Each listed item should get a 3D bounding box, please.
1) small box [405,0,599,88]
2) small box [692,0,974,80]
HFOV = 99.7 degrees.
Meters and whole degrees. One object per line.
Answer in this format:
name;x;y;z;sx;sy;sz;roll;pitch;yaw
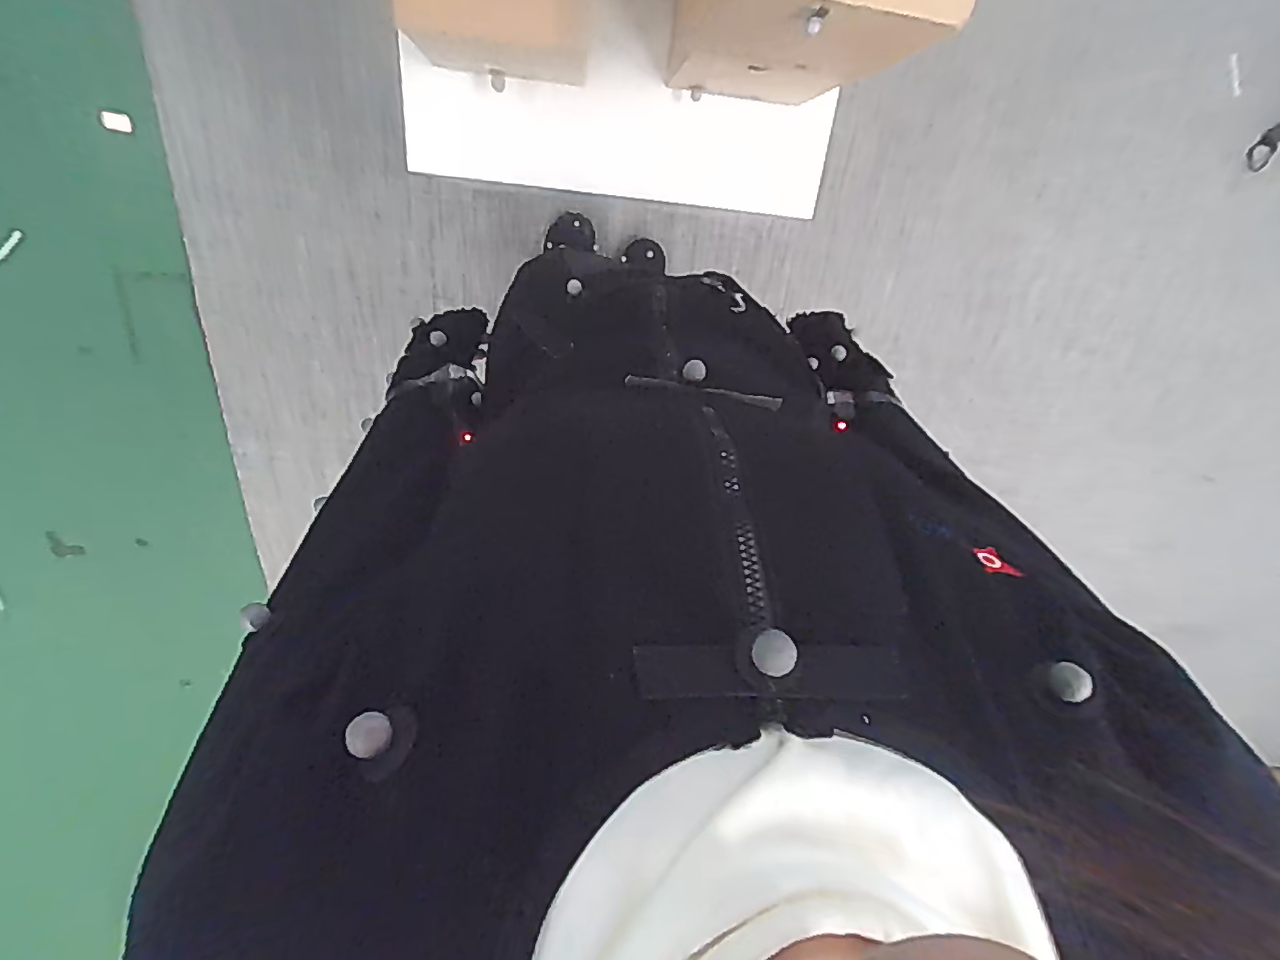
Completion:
small box;-0.122;-0.495;0.506;0.168;0.176;0.179;0;118;-6
small box;0.140;-0.421;0.387;0.168;0.176;0.179;3;115;-8
